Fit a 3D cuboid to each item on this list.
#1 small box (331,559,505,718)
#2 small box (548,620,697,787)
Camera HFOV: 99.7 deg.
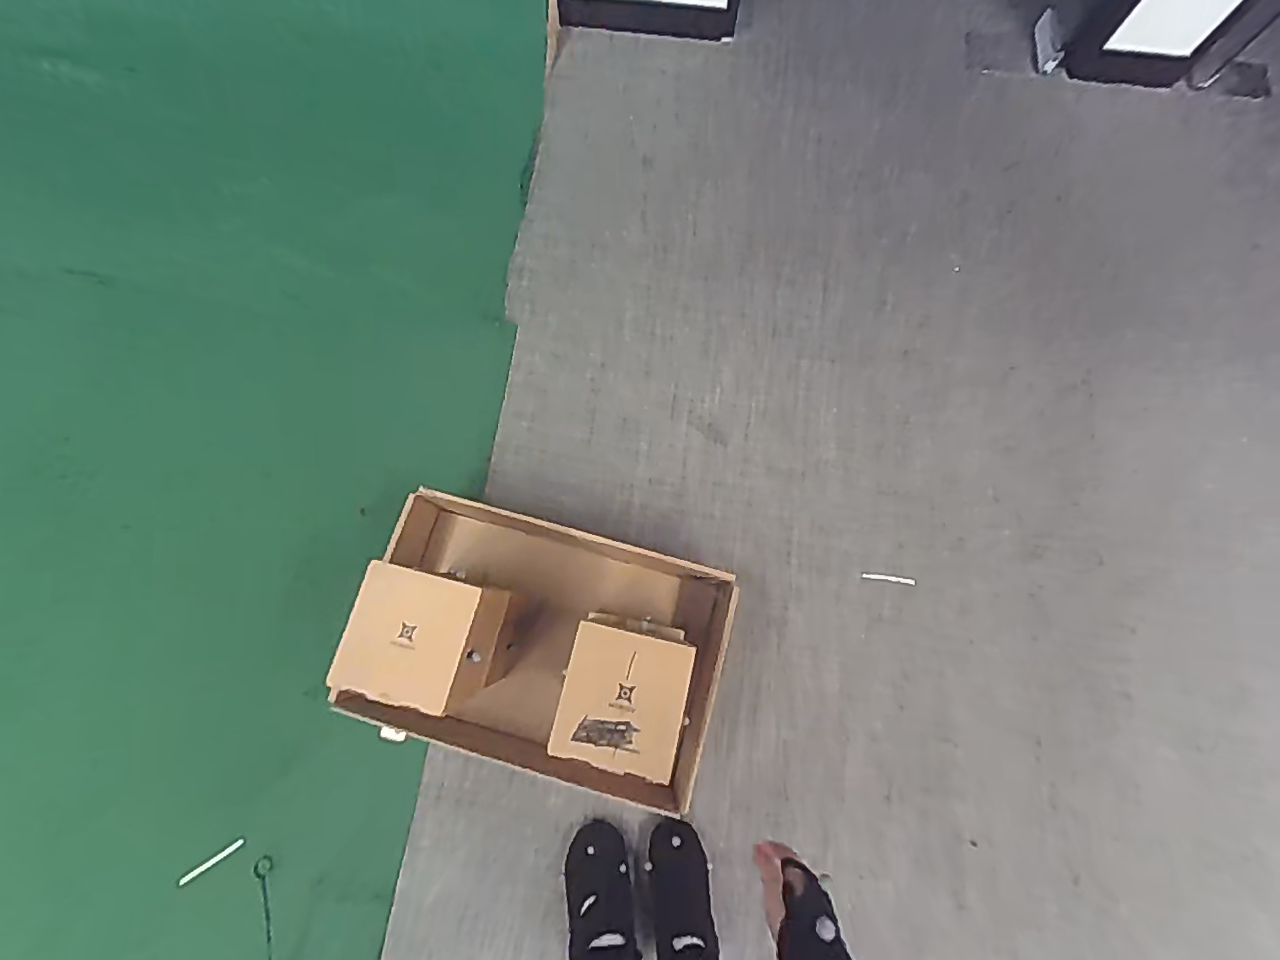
[{"bbox_3d":[-0.316,0.230,0.813,0.168,0.176,0.179,15,78,2],"label":"small box"},{"bbox_3d":[-0.020,0.312,0.793,0.168,0.176,0.179,14,76,3],"label":"small box"}]
